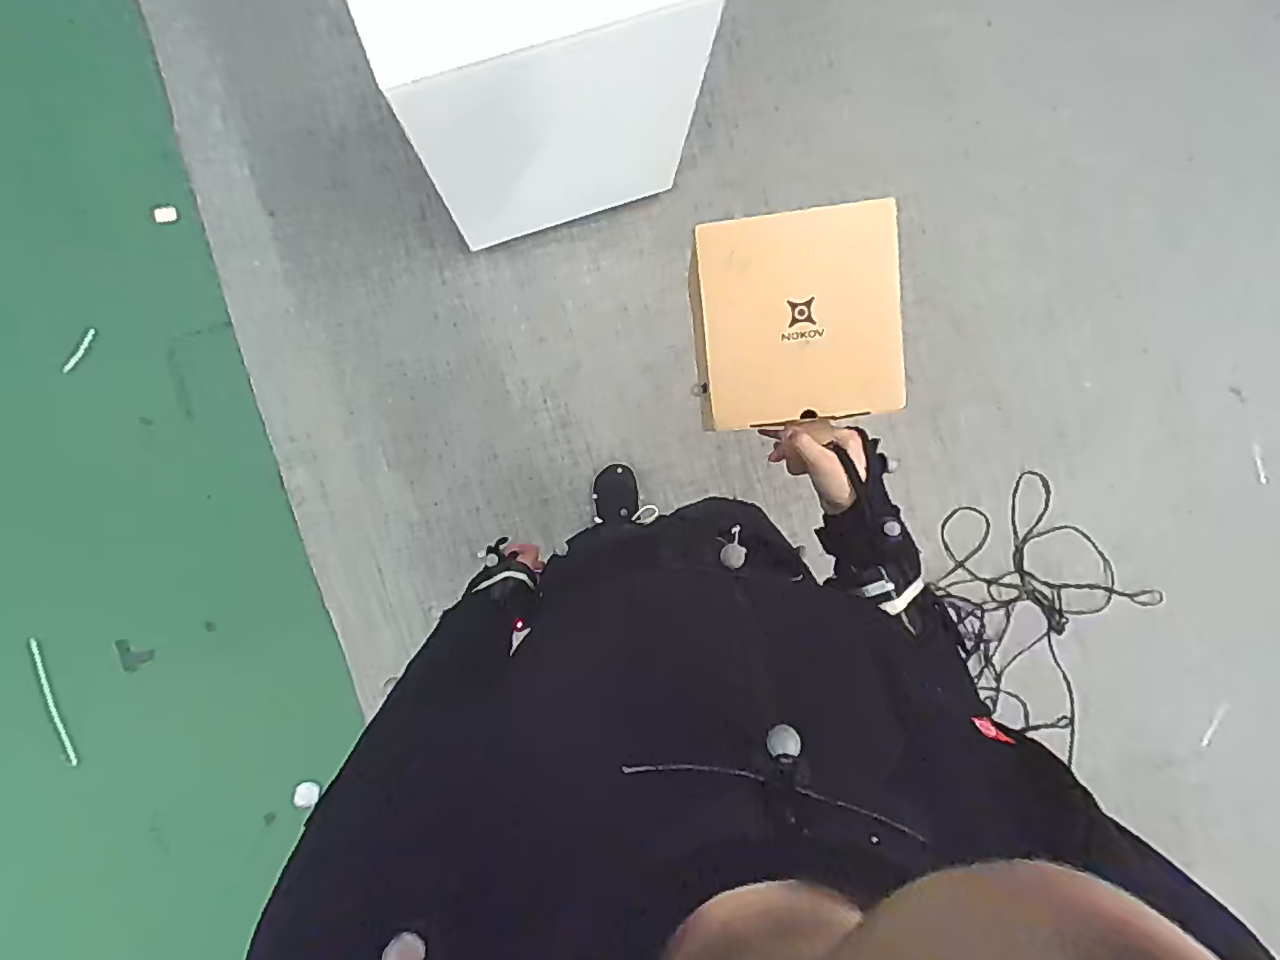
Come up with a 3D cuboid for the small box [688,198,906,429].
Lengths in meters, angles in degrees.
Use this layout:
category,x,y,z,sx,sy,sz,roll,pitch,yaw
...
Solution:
category,x,y,z,sx,sy,sz,roll,pitch,yaw
small box,0.139,-0.145,0.532,0.168,0.176,0.179,-6,97,4
